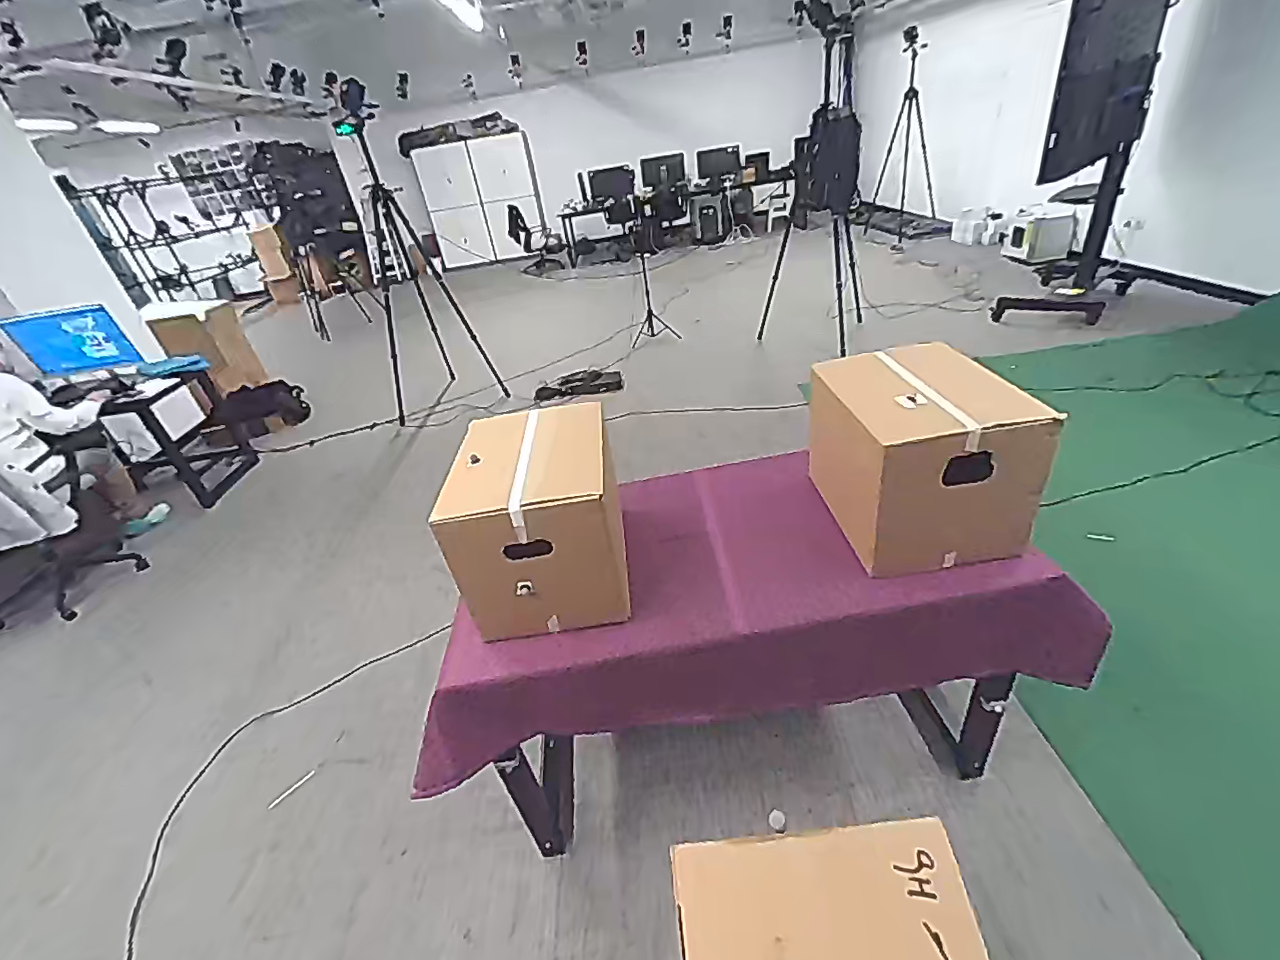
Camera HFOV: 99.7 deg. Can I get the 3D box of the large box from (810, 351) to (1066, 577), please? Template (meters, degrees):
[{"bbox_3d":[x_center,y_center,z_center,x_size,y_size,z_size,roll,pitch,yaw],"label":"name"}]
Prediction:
[{"bbox_3d":[0.589,-0.051,1.177,0.320,0.320,0.408,-9,33,2],"label":"large box"}]
